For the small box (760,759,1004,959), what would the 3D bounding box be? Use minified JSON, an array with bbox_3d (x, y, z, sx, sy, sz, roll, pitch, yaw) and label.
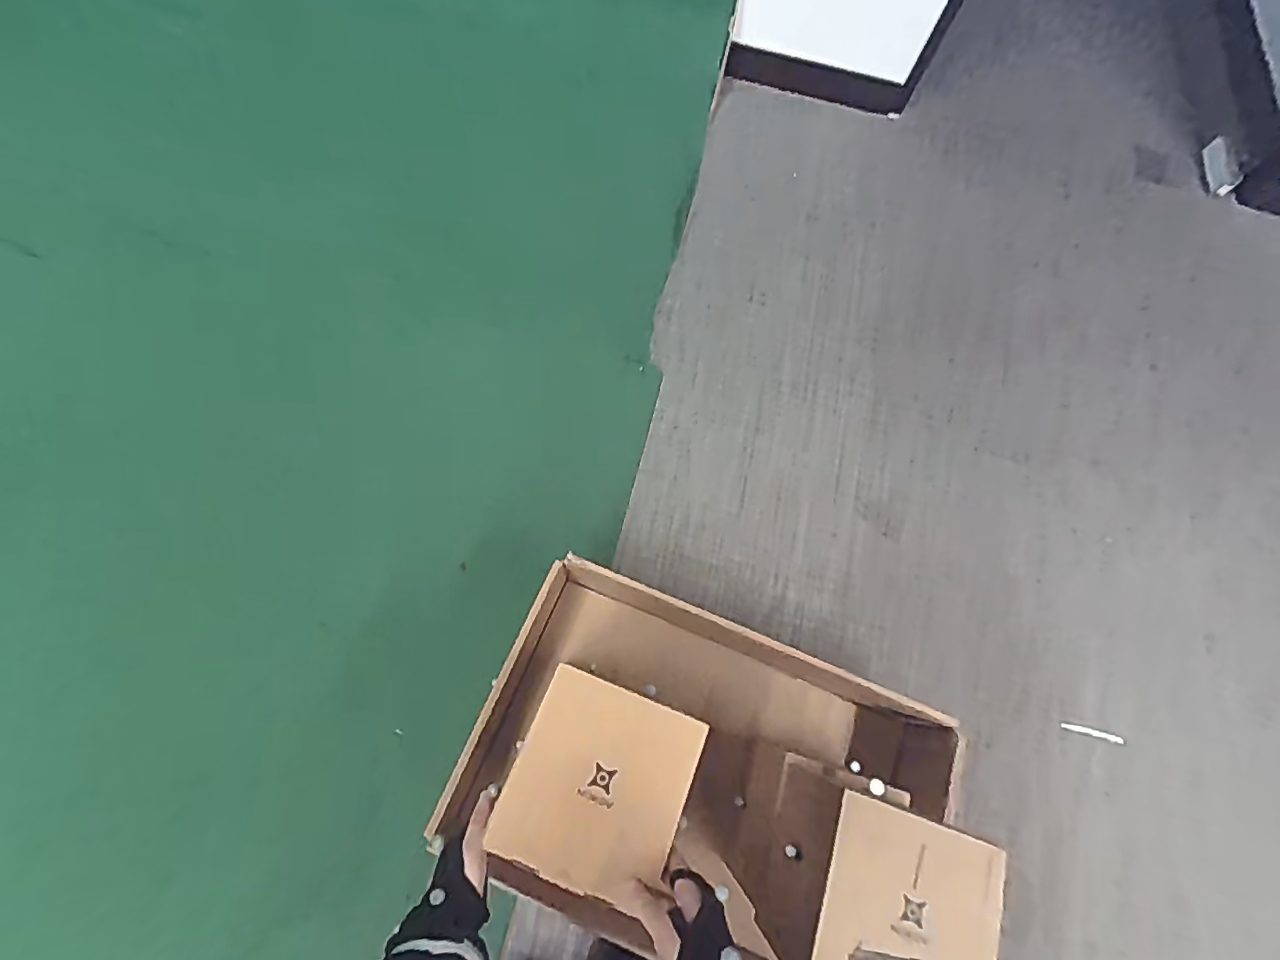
[{"bbox_3d":[0.239,0.422,0.570,0.168,0.176,0.179,20,70,4],"label":"small box"}]
